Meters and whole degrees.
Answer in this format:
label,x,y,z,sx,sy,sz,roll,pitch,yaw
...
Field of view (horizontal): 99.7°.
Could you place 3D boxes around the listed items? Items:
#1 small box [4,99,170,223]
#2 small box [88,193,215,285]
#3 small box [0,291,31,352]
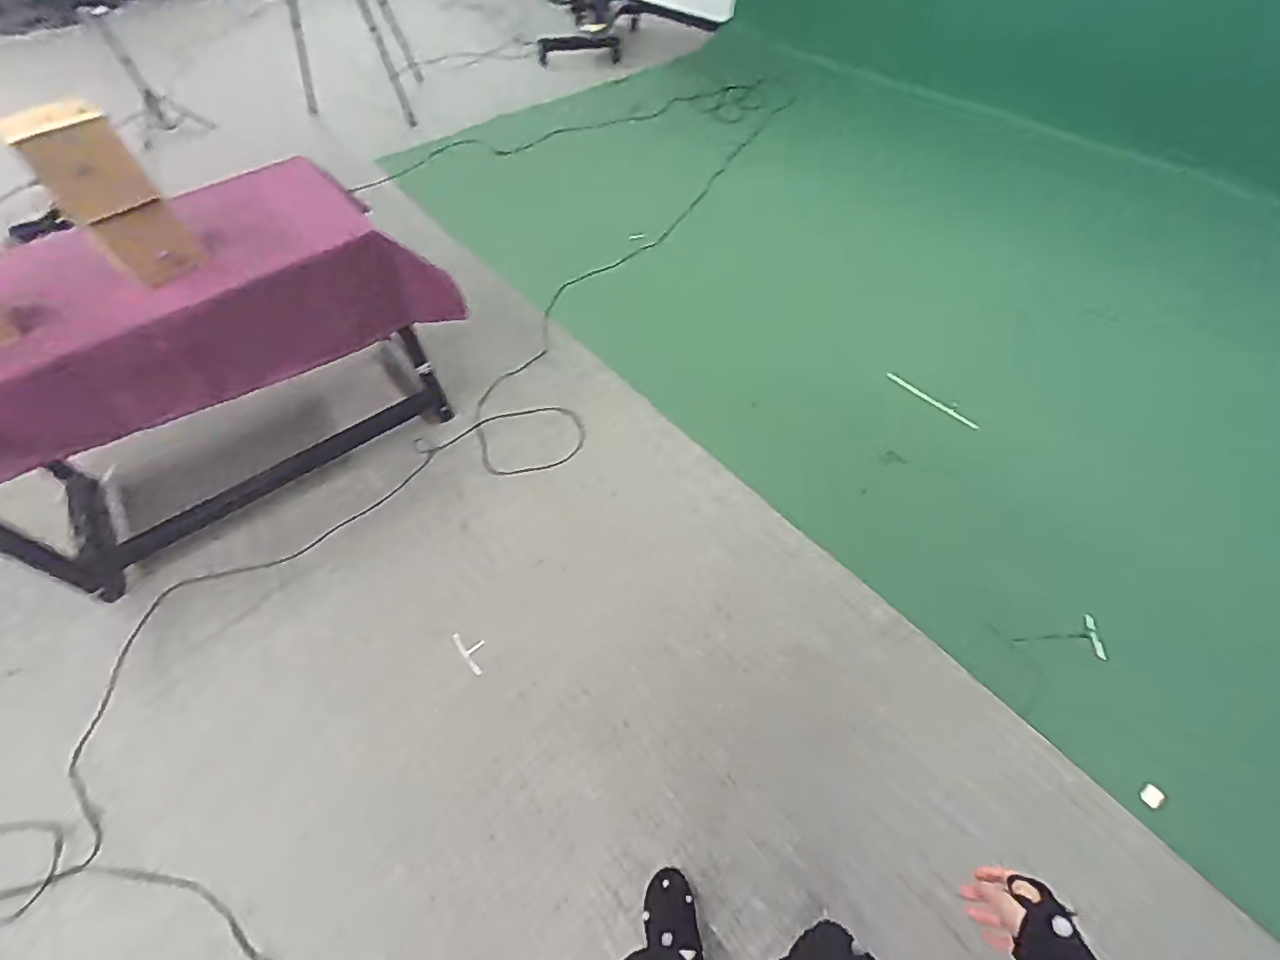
label,x,y,z,sx,sy,sz,roll,pitch,yaw
small box,-1.204,-0.697,1.189,0.168,0.176,0.179,37,64,25
small box,-1.212,-0.610,1.330,0.179,0.176,0.168,32,62,24
small box,-1.501,-0.370,1.176,0.179,0.176,0.168,38,63,27
